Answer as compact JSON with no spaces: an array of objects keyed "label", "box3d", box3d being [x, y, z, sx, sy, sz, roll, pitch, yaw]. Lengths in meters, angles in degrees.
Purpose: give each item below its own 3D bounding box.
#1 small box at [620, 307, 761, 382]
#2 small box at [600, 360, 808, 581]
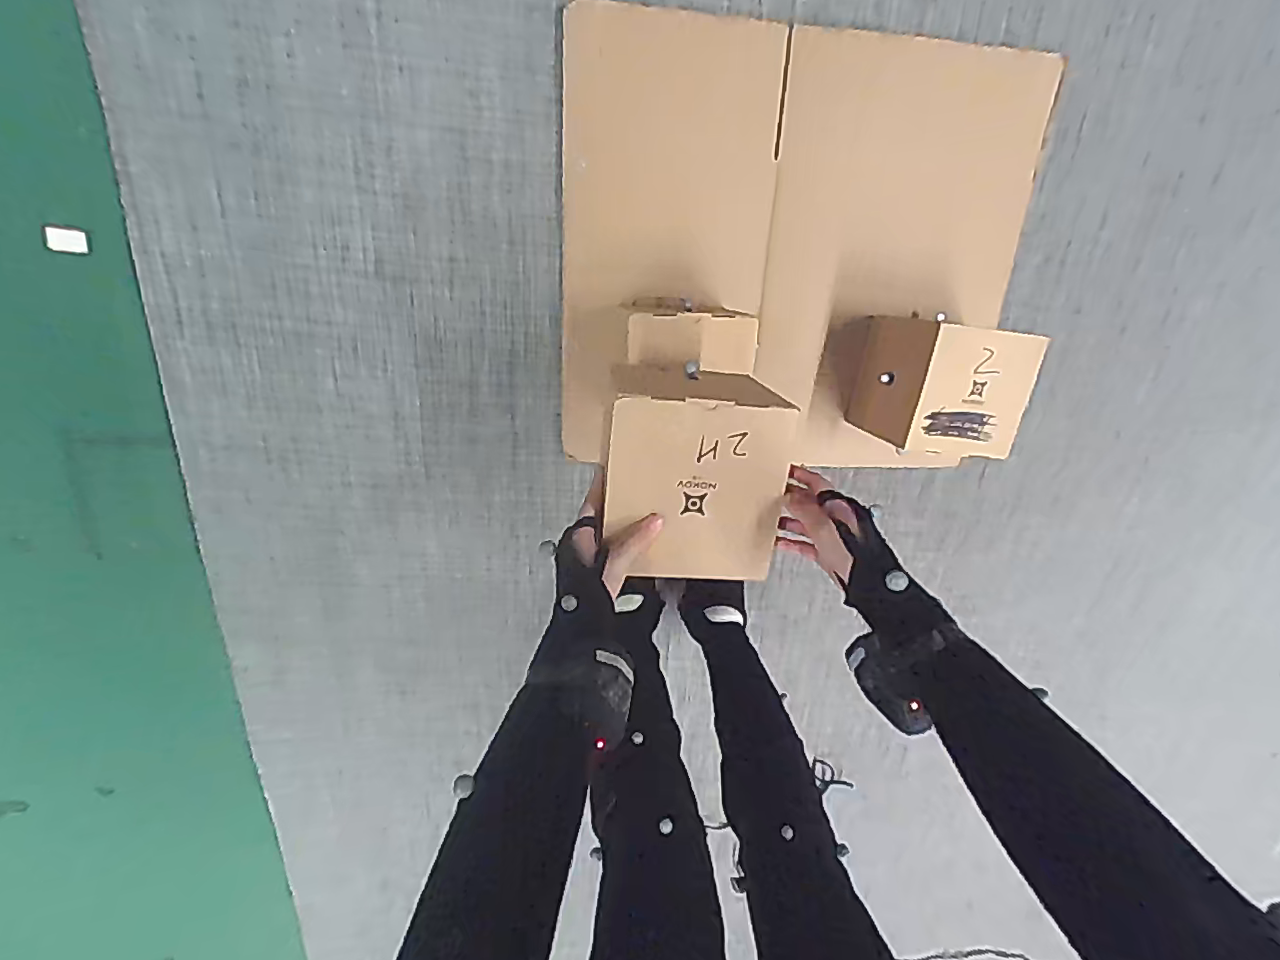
[{"label":"small box","box3d":[0.059,-0.147,0.762,0.168,0.176,0.179,-1,109,-7]},{"label":"small box","box3d":[0.048,-0.017,0.558,0.168,0.176,0.179,4,110,-8]}]
